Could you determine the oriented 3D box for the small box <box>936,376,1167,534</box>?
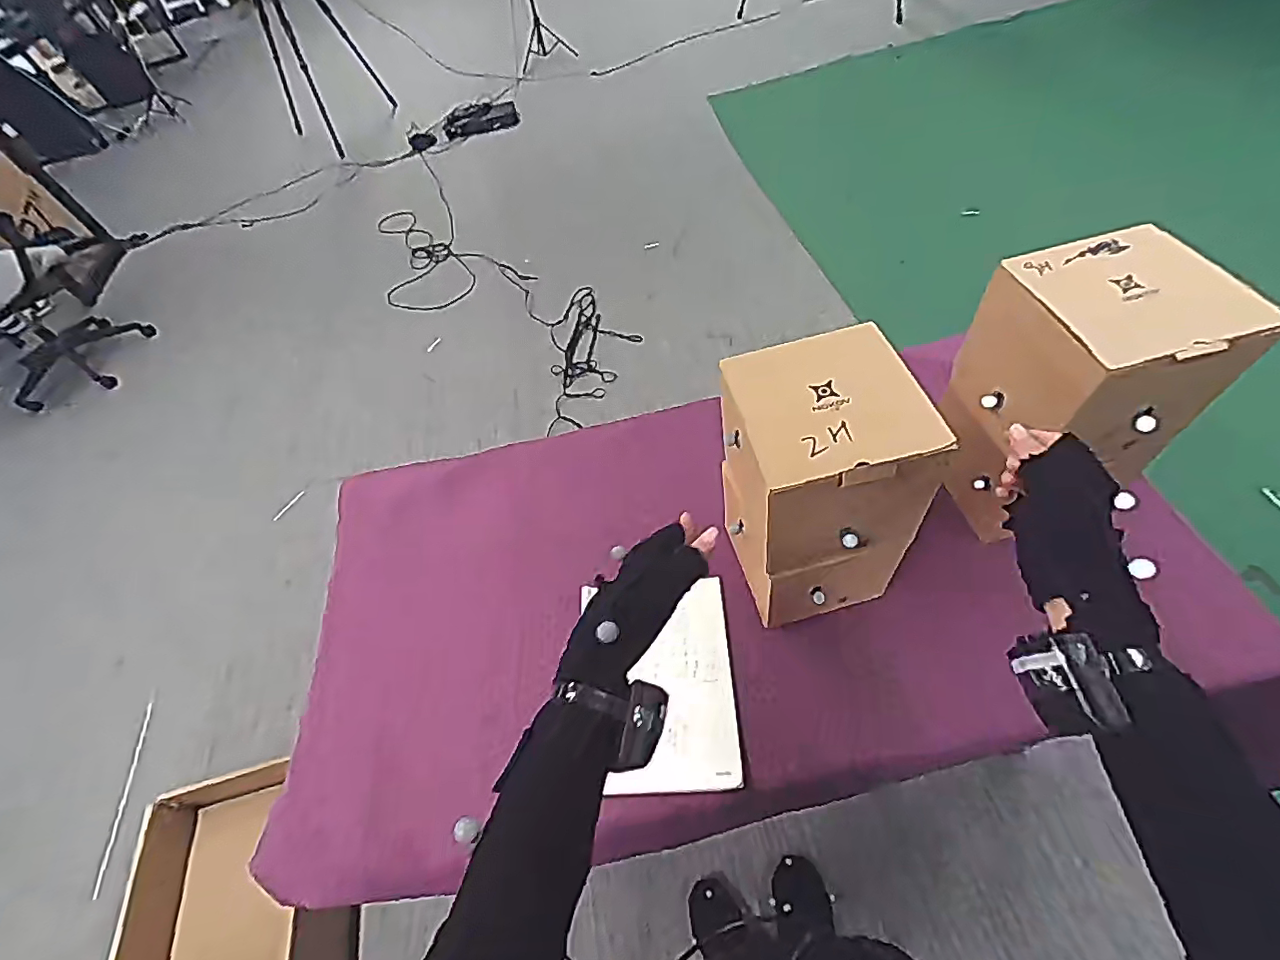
[{"bbox_3d":[0.516,-0.043,0.723,0.168,0.176,0.179,-13,54,2],"label":"small box"}]

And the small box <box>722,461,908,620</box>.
[{"bbox_3d":[0.215,0.068,0.708,0.168,0.176,0.179,-16,54,0],"label":"small box"}]

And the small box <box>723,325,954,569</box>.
[{"bbox_3d":[0.189,-0.031,0.577,0.168,0.176,0.179,-13,54,2],"label":"small box"}]

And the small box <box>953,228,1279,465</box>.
[{"bbox_3d":[0.484,-0.134,0.590,0.168,0.176,0.179,-13,55,1],"label":"small box"}]
